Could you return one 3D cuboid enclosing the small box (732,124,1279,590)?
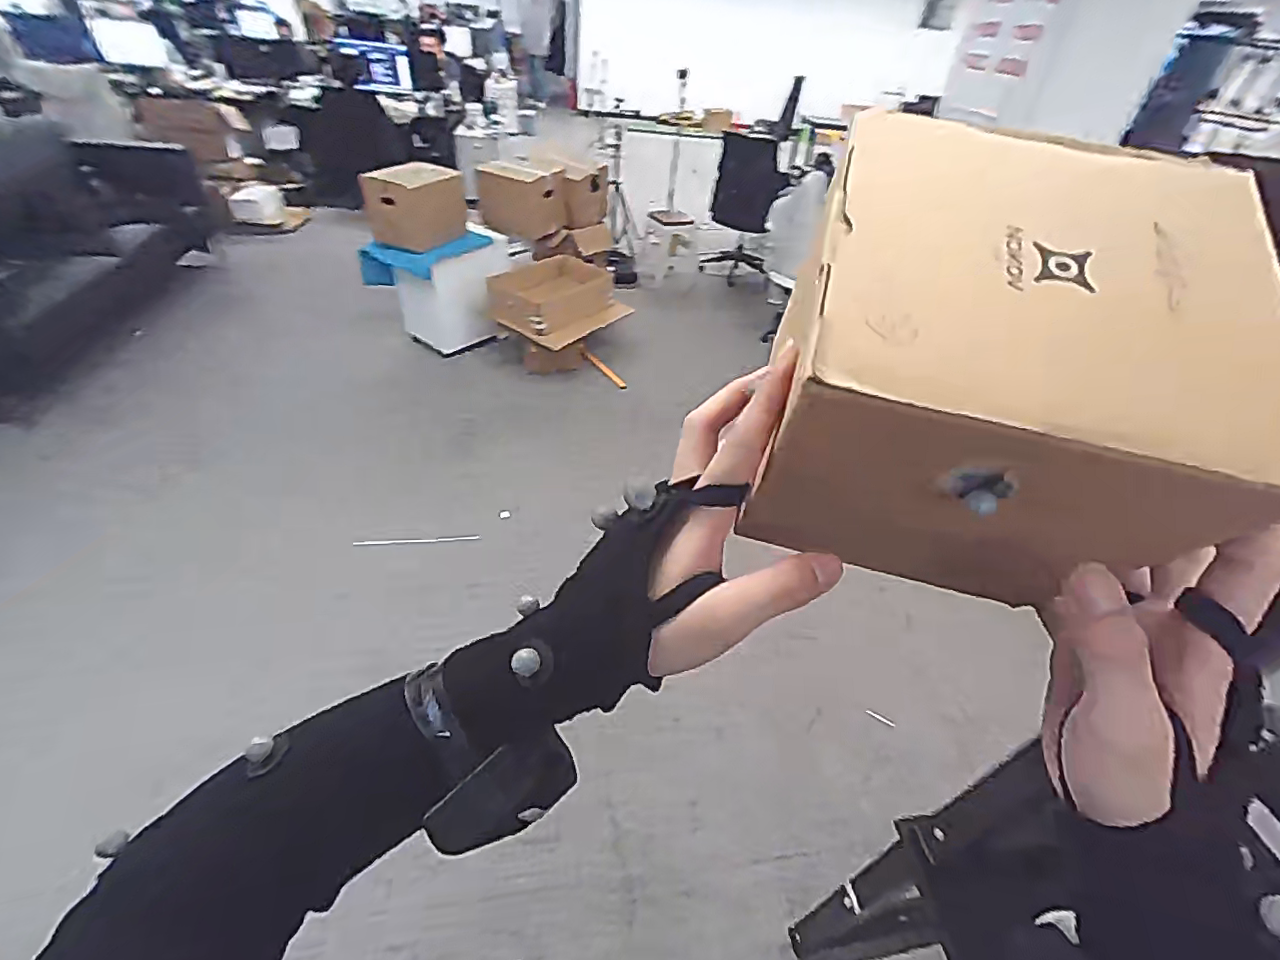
[{"bbox_3d":[0.157,-0.052,0.298,0.179,0.176,0.168,14,65,5],"label":"small box"}]
